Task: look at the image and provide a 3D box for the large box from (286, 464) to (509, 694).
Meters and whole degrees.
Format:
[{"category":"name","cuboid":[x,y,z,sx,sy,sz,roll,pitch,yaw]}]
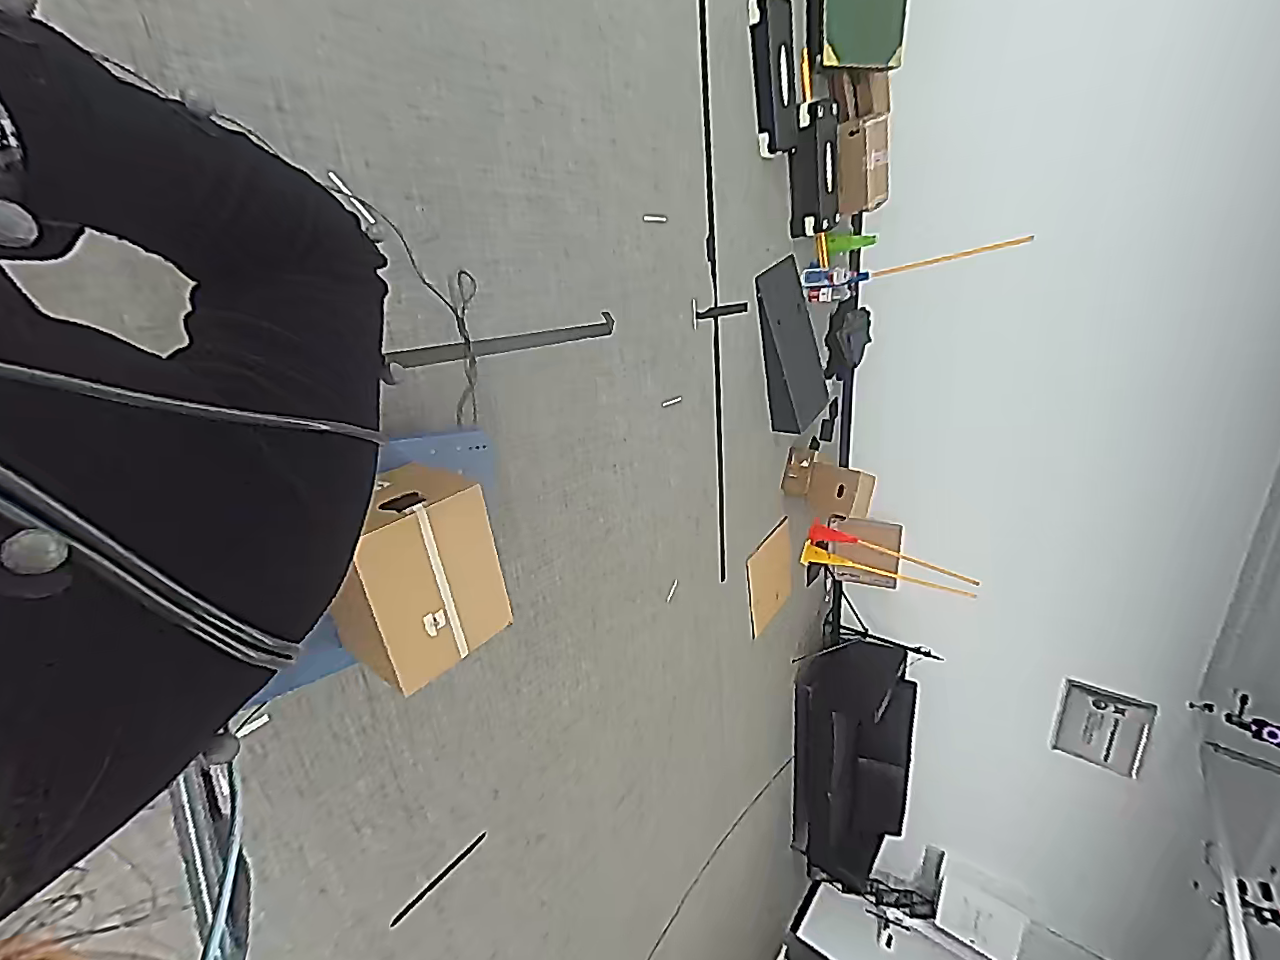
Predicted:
[{"category":"large box","cuboid":[-0.571,0.215,1.308,0.320,0.320,0.408,-30,123,-43]}]
